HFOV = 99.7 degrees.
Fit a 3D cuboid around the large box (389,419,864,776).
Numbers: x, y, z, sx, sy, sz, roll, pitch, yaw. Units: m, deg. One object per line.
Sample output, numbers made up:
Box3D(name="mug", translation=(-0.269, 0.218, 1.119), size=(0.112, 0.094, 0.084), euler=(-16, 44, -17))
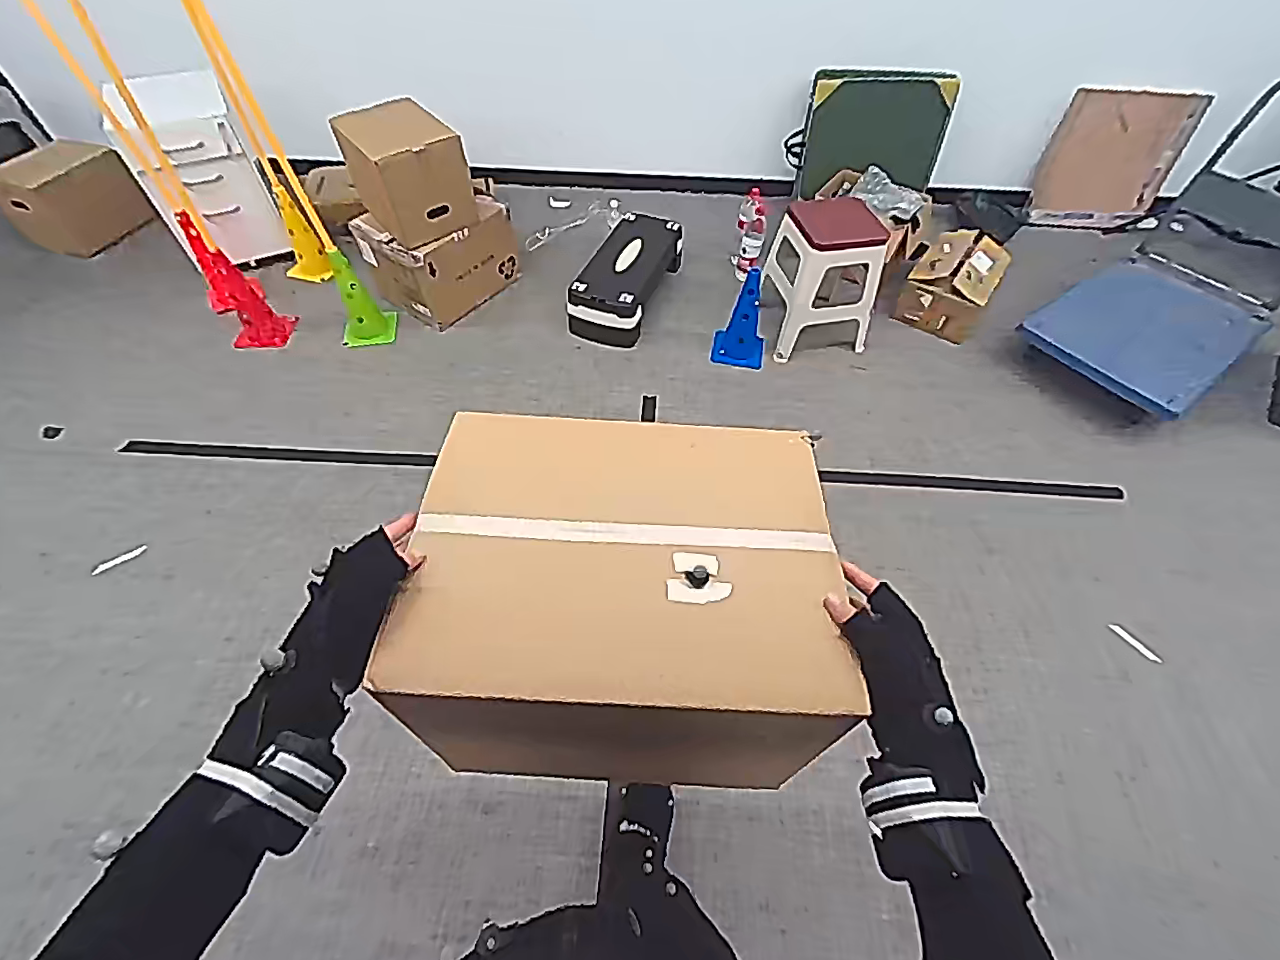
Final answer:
Box3D(name="large box", translation=(-0.016, 0.150, 0.651), size=(0.408, 0.320, 0.320), euler=(4, 51, -1))
